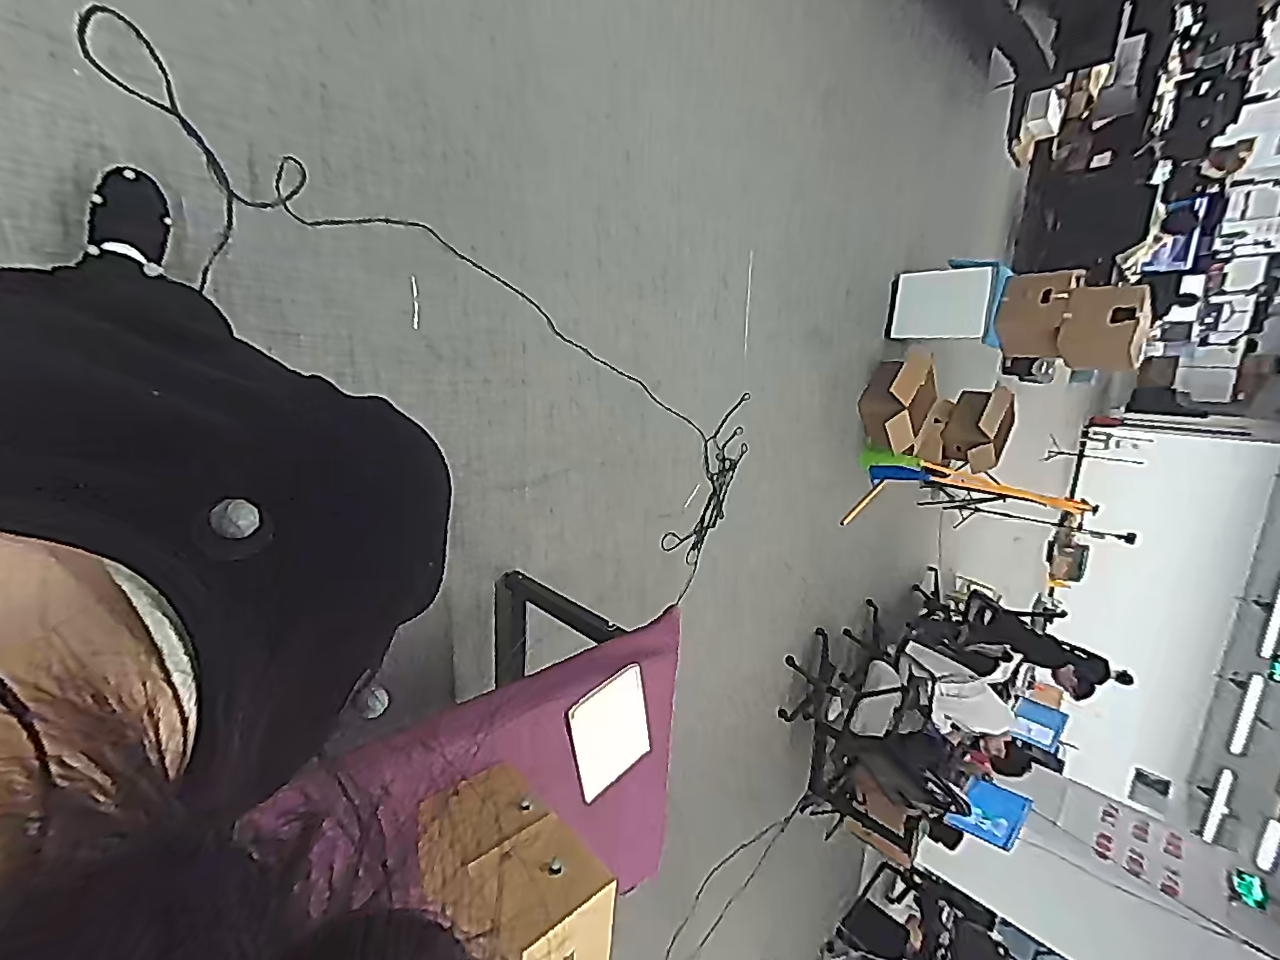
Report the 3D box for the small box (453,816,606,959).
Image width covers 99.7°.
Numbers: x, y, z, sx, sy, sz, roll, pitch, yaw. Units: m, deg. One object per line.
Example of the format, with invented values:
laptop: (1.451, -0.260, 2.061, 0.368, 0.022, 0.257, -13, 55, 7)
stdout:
small box: (-0.172, 0.659, 0.826, 0.168, 0.176, 0.179, -7, 108, -45)
